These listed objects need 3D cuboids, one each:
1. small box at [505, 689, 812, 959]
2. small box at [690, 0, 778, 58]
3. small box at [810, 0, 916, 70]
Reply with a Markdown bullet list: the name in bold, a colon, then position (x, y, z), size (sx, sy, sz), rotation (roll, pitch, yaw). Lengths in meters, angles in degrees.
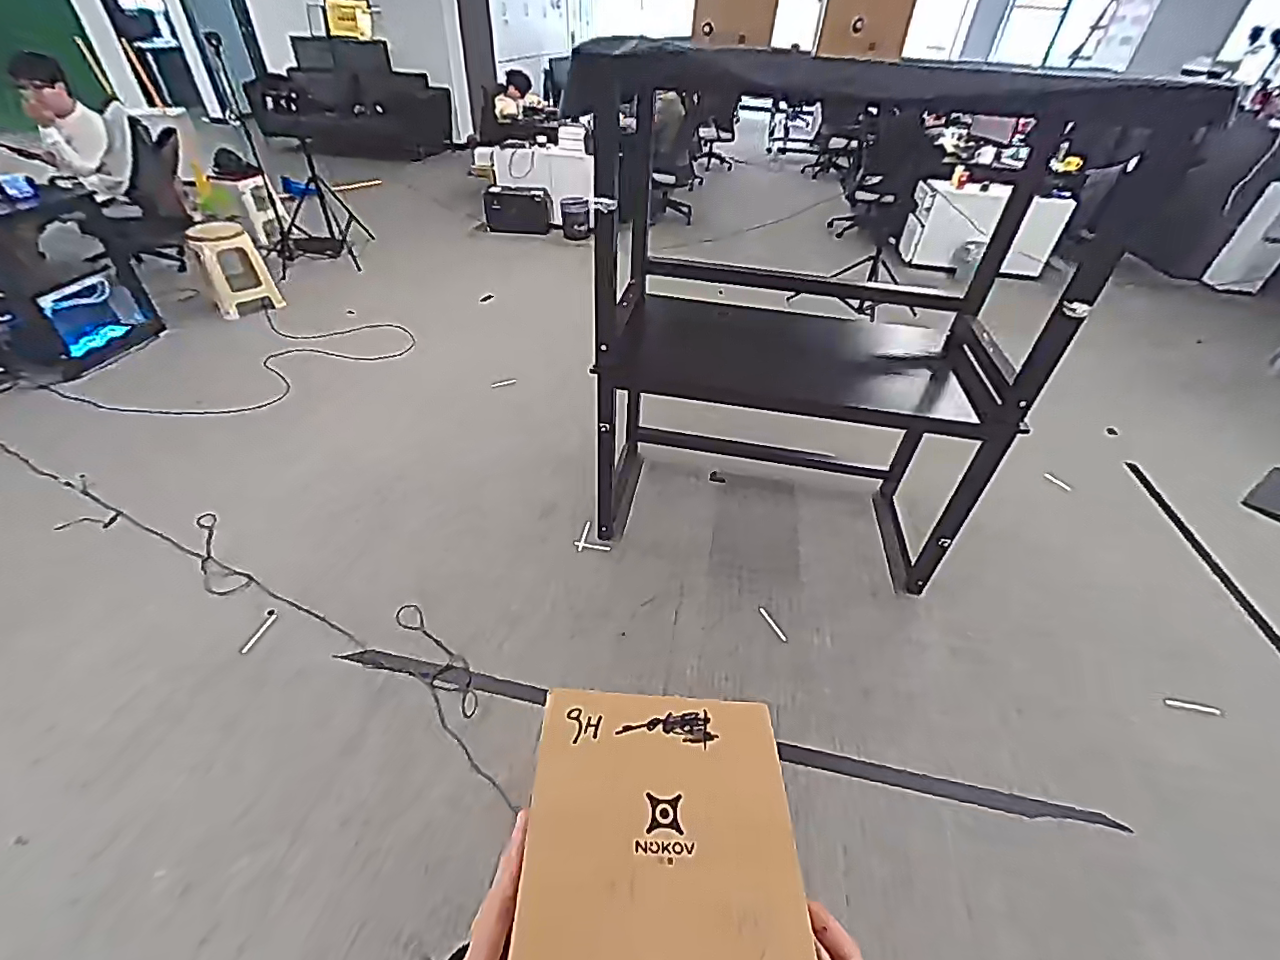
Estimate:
- **small box**: position (0.004, 0.276, 0.381), size (0.168, 0.176, 0.179), rotation (6, 39, -4)
- **small box**: position (0.196, -0.978, 1.110), size (0.168, 0.176, 0.179), rotation (8, 38, 3)
- **small box**: position (0.449, -0.943, 1.091), size (0.168, 0.176, 0.179), rotation (9, 39, 6)
